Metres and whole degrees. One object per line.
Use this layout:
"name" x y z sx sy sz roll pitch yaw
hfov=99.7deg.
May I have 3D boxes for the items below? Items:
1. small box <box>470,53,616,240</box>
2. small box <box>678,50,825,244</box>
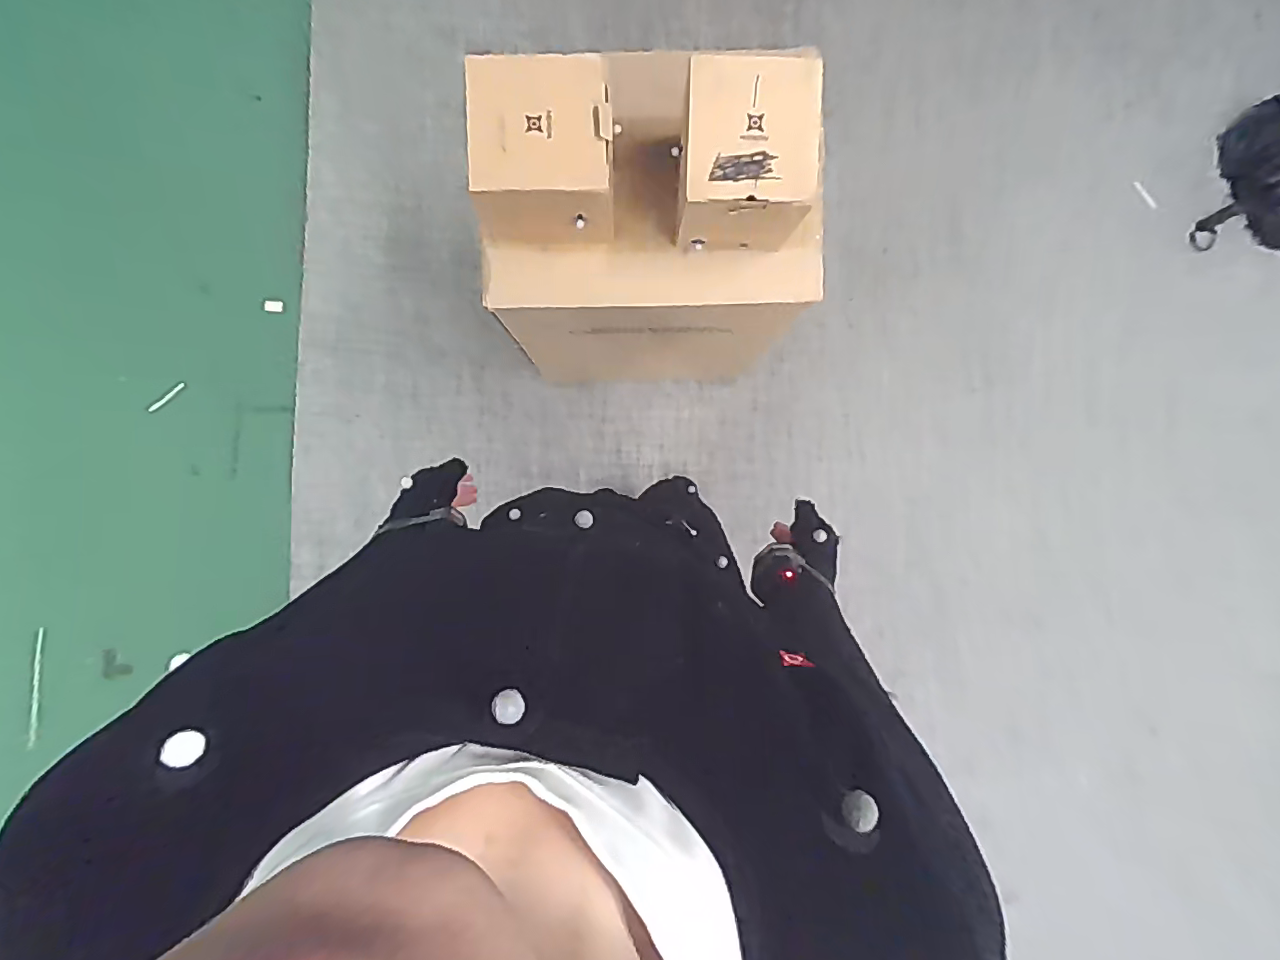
"small box" -0.123 -0.449 0.752 0.179 0.176 0.168 -1 92 1
"small box" 0.143 -0.444 0.749 0.168 0.176 0.179 2 93 0
